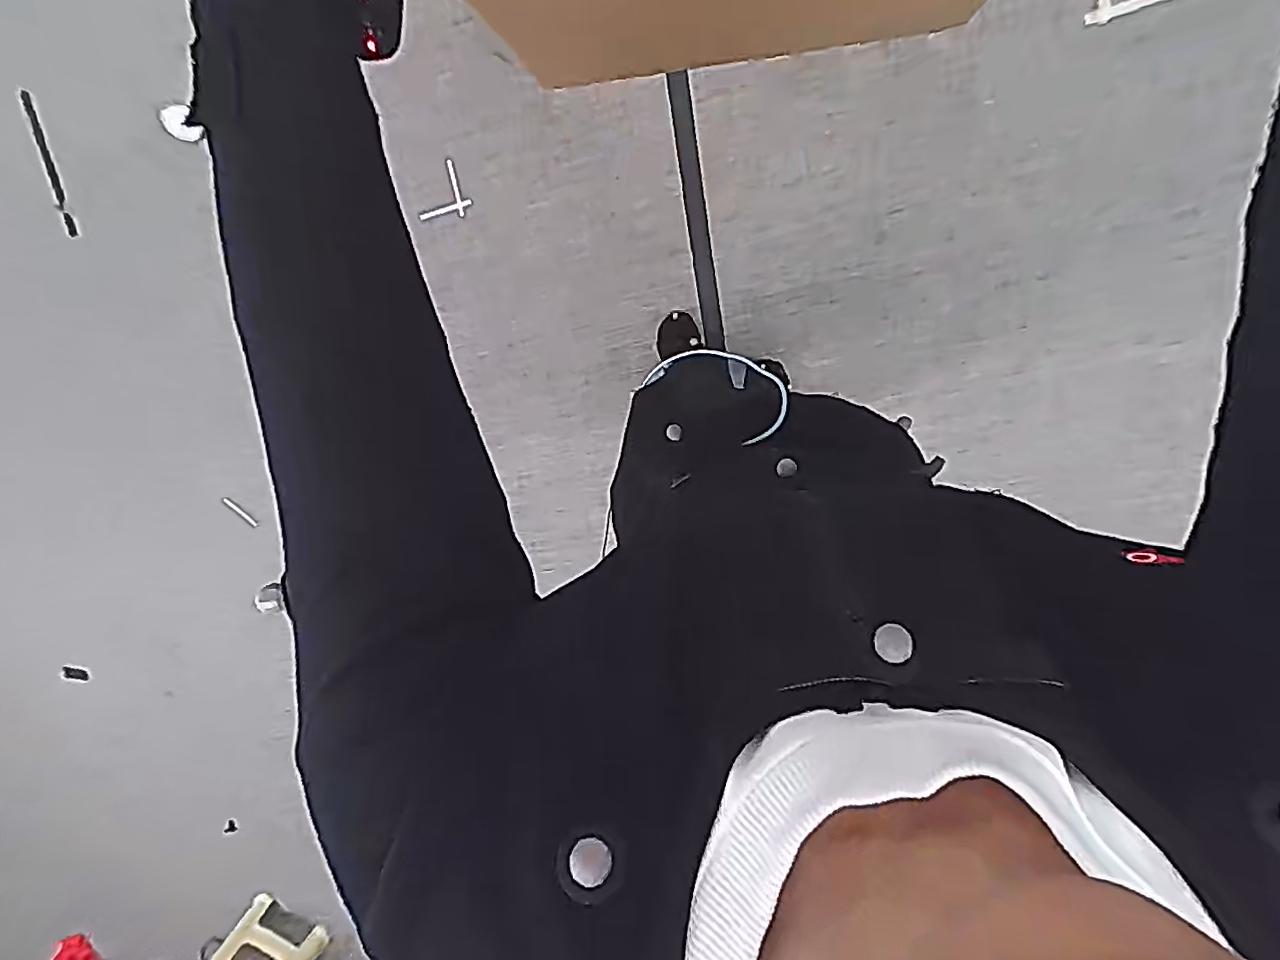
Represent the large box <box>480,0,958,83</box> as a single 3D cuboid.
[{"bbox_3d":[0.059,-0.514,0.341,0.408,0.320,0.320,-3,109,9],"label":"large box"}]
